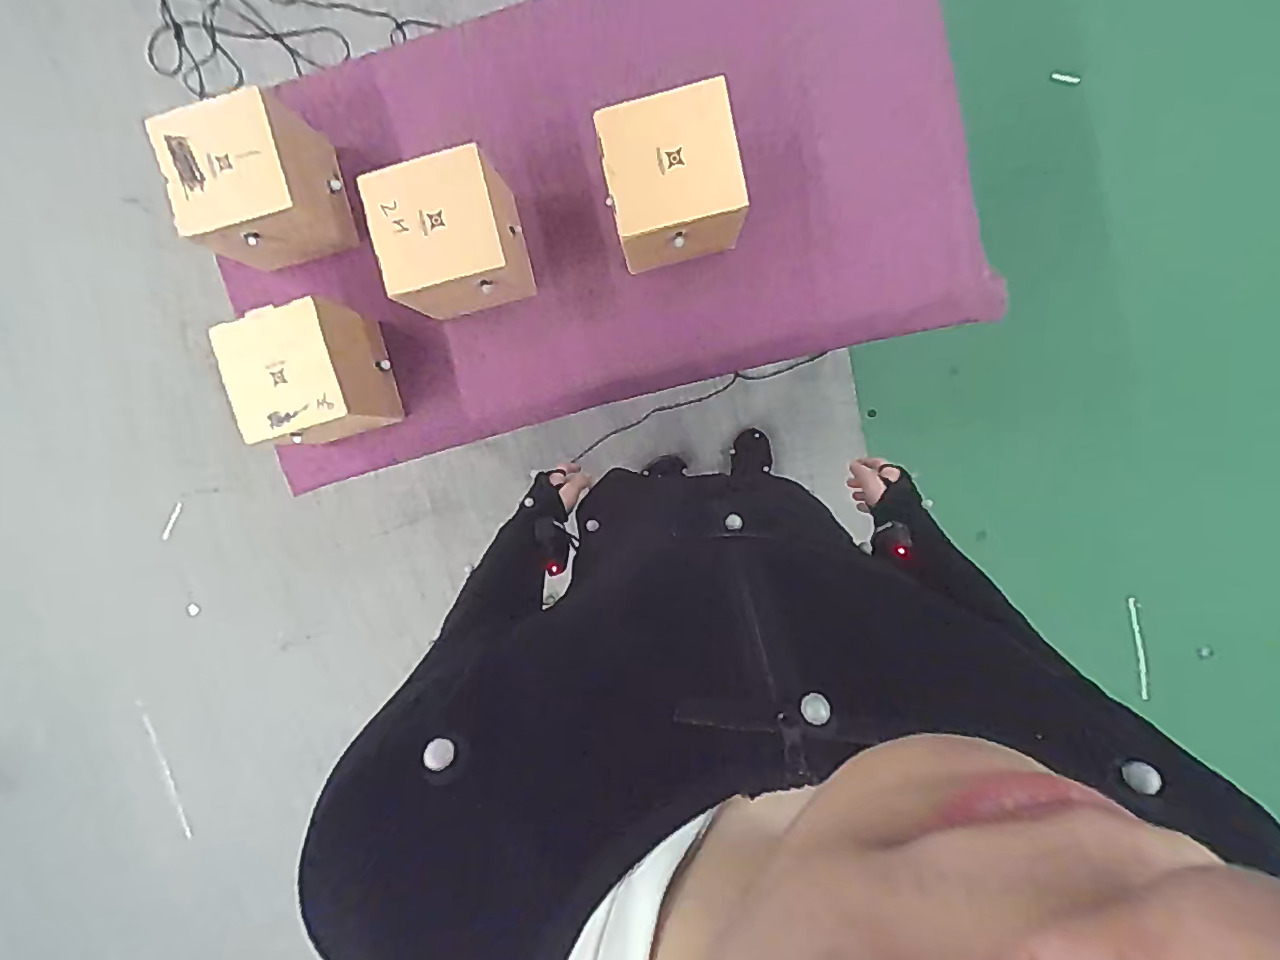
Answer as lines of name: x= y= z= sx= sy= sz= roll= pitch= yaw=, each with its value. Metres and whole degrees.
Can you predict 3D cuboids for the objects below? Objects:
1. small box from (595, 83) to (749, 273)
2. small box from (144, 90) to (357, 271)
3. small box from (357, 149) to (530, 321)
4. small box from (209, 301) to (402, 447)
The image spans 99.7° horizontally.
small box: x=0.047 y=-0.416 z=0.778 sx=0.179 sy=0.176 sz=0.168 roll=-12 pitch=95 yaw=6
small box: x=-0.572 y=-0.435 z=0.817 sx=0.179 sy=0.176 sz=0.168 roll=-13 pitch=95 yaw=4
small box: x=-0.275 y=-0.349 z=0.805 sx=0.179 sy=0.176 sz=0.168 roll=-13 pitch=94 yaw=5
small box: x=-0.505 y=-0.153 z=0.841 sx=0.168 sy=0.176 sz=0.179 roll=-15 pitch=93 yaw=6
